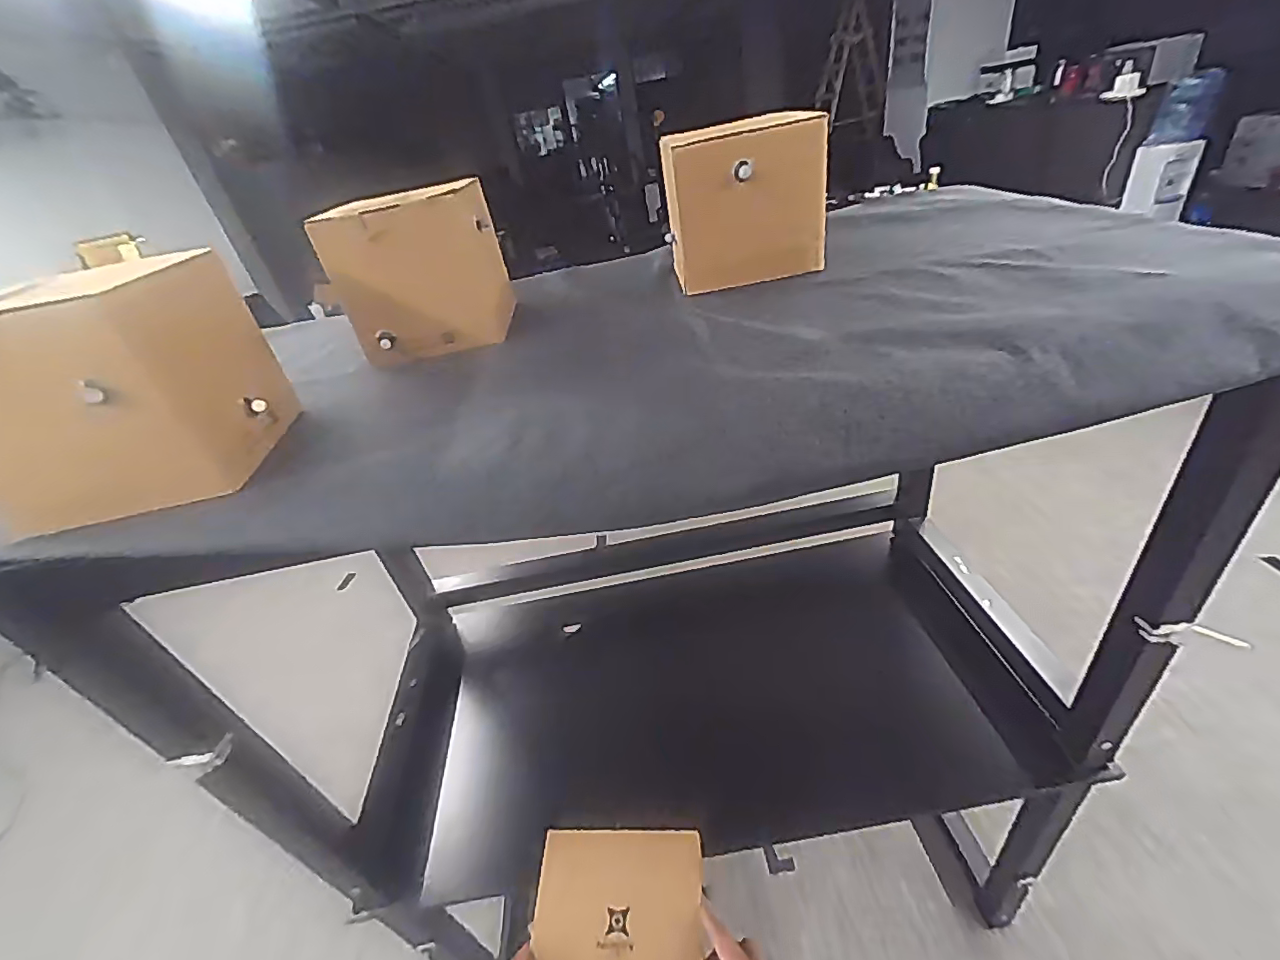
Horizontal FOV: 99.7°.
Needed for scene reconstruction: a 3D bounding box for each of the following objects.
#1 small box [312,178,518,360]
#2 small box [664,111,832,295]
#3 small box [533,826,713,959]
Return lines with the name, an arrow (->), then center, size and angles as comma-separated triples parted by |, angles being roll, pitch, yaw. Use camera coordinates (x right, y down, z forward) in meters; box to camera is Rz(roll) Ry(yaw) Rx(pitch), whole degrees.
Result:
small box -> -0.261, -0.263, 0.681 | 0.168, 0.176, 0.179 | -11, 33, 1
small box -> 0.132, -0.356, 0.695 | 0.179, 0.176, 0.168 | -10, 34, 4
small box -> -0.010, 0.489, 0.561 | 0.168, 0.176, 0.179 | -3, 39, 6
